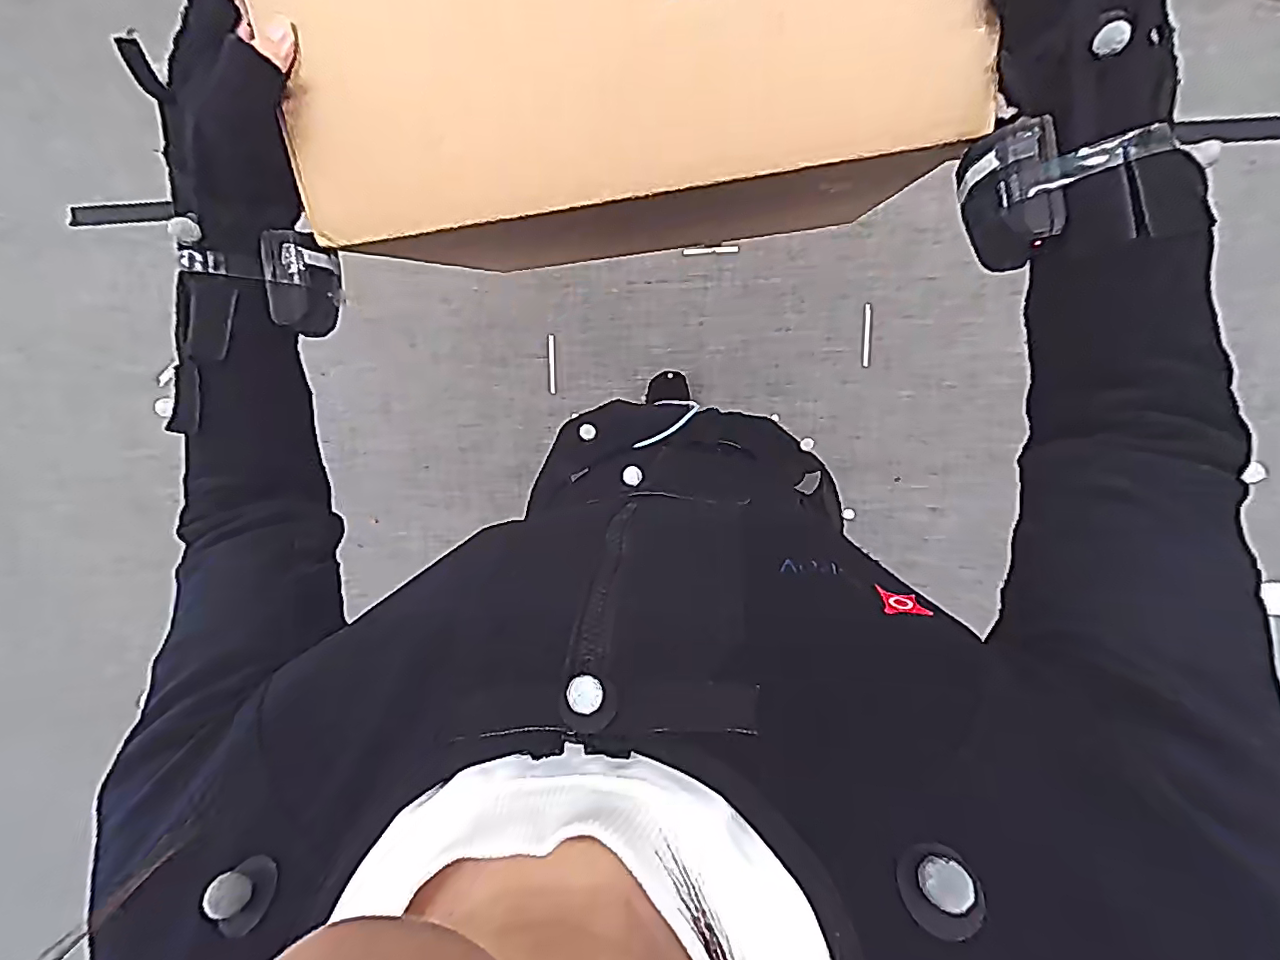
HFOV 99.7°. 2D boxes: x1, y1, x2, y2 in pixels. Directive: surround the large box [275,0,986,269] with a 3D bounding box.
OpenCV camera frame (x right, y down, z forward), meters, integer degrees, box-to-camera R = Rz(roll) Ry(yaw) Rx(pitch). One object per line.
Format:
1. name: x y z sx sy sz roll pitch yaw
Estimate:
1. large box: -0.009 -0.370 0.429 0.408 0.320 0.320 -5 108 9
